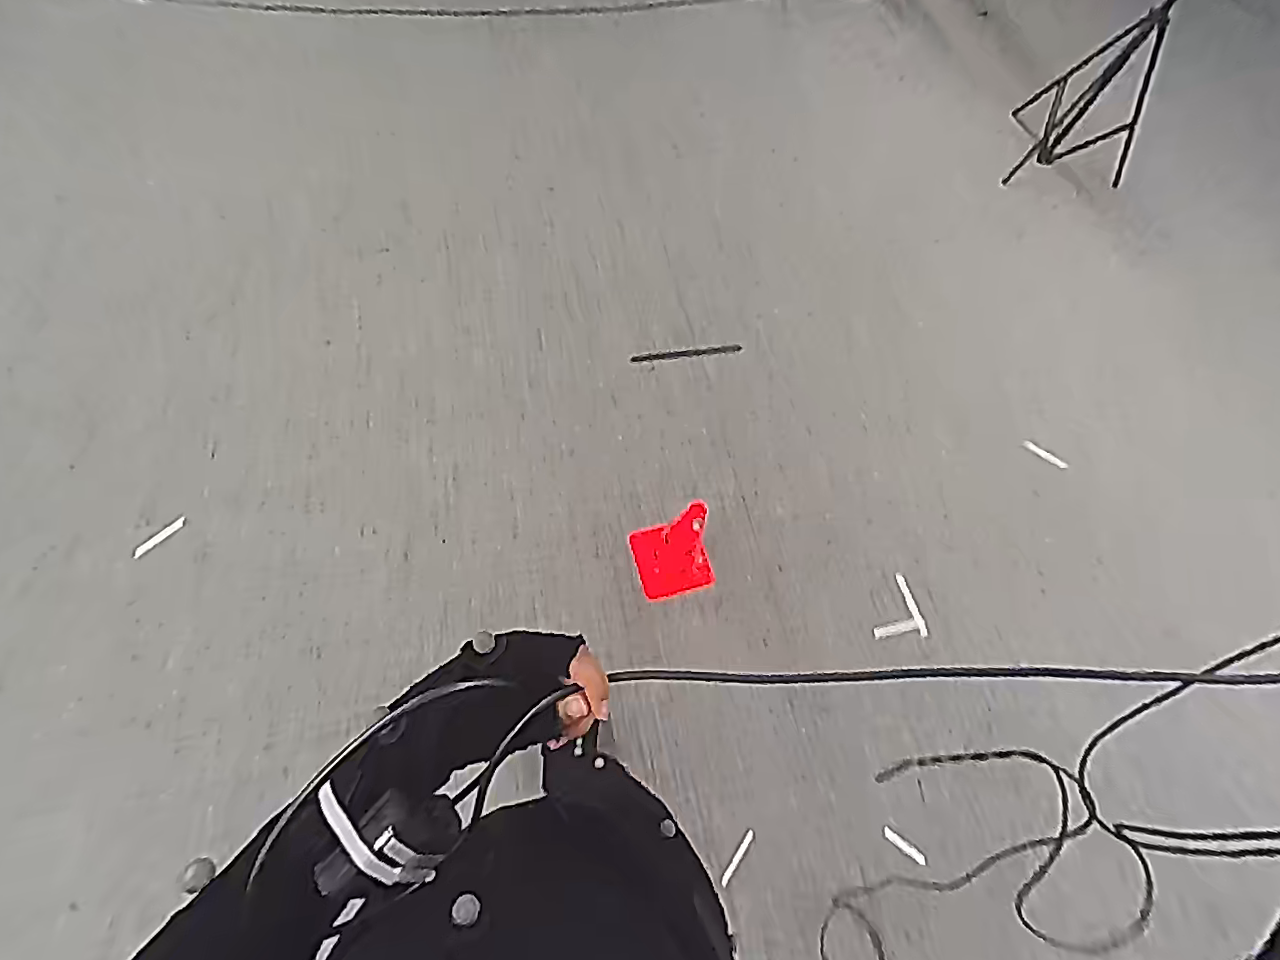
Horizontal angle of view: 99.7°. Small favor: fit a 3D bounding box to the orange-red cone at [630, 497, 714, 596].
[{"bbox_3d":[0.102,0.132,1.316,0.199,0.360,0.198,-12,66,-11],"label":"orange-red cone"}]
